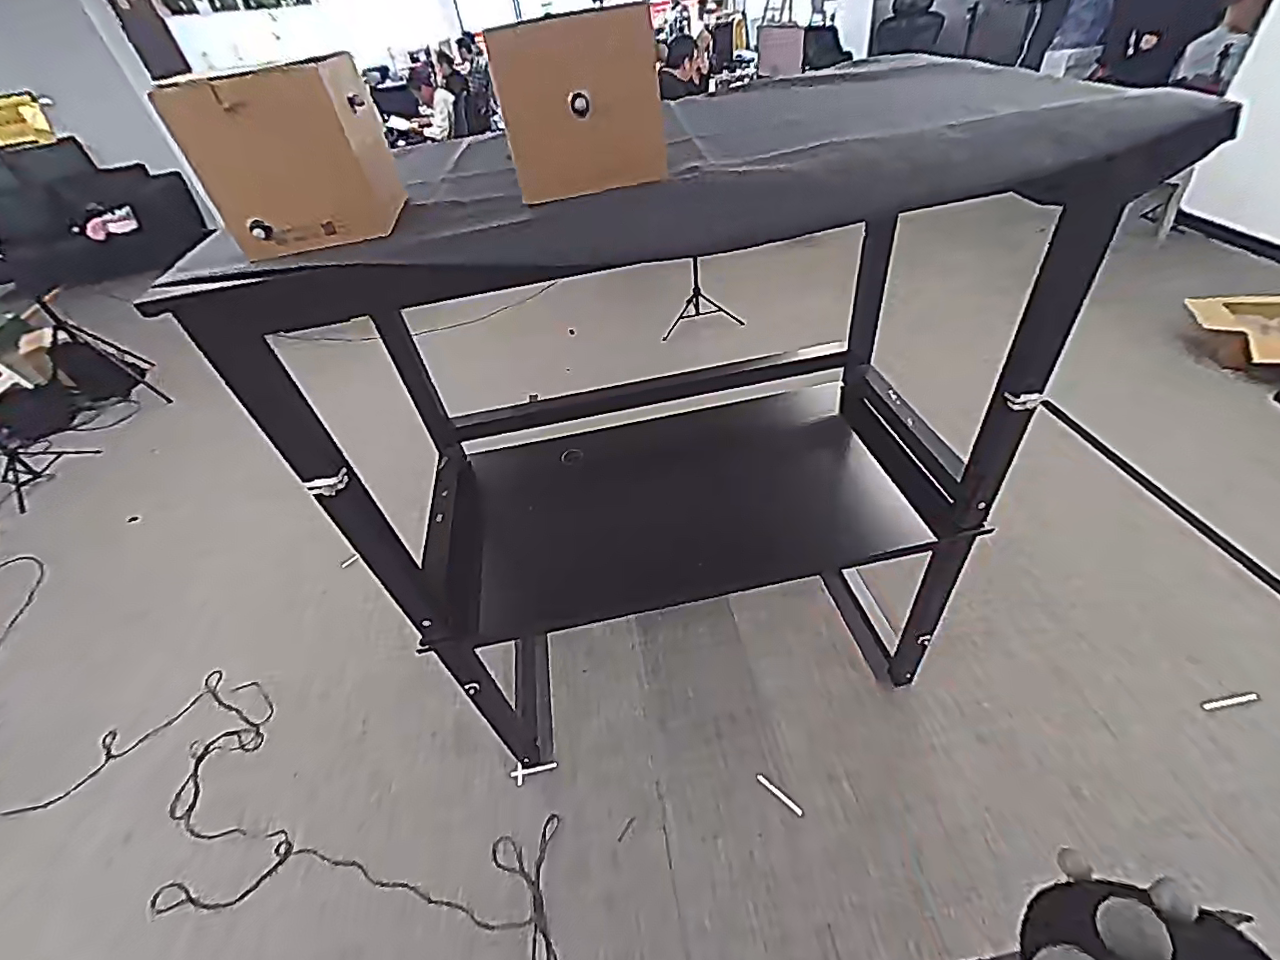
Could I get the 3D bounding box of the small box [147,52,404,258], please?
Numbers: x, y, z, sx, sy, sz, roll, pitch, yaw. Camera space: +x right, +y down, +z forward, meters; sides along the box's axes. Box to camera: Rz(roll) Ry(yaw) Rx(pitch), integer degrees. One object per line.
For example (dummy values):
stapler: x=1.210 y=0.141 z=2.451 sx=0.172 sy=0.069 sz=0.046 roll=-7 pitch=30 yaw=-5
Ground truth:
small box: x=-0.398 y=-0.376 z=0.634 sx=0.168 sy=0.176 sz=0.179 roll=-12 pitch=42 yaw=-3
